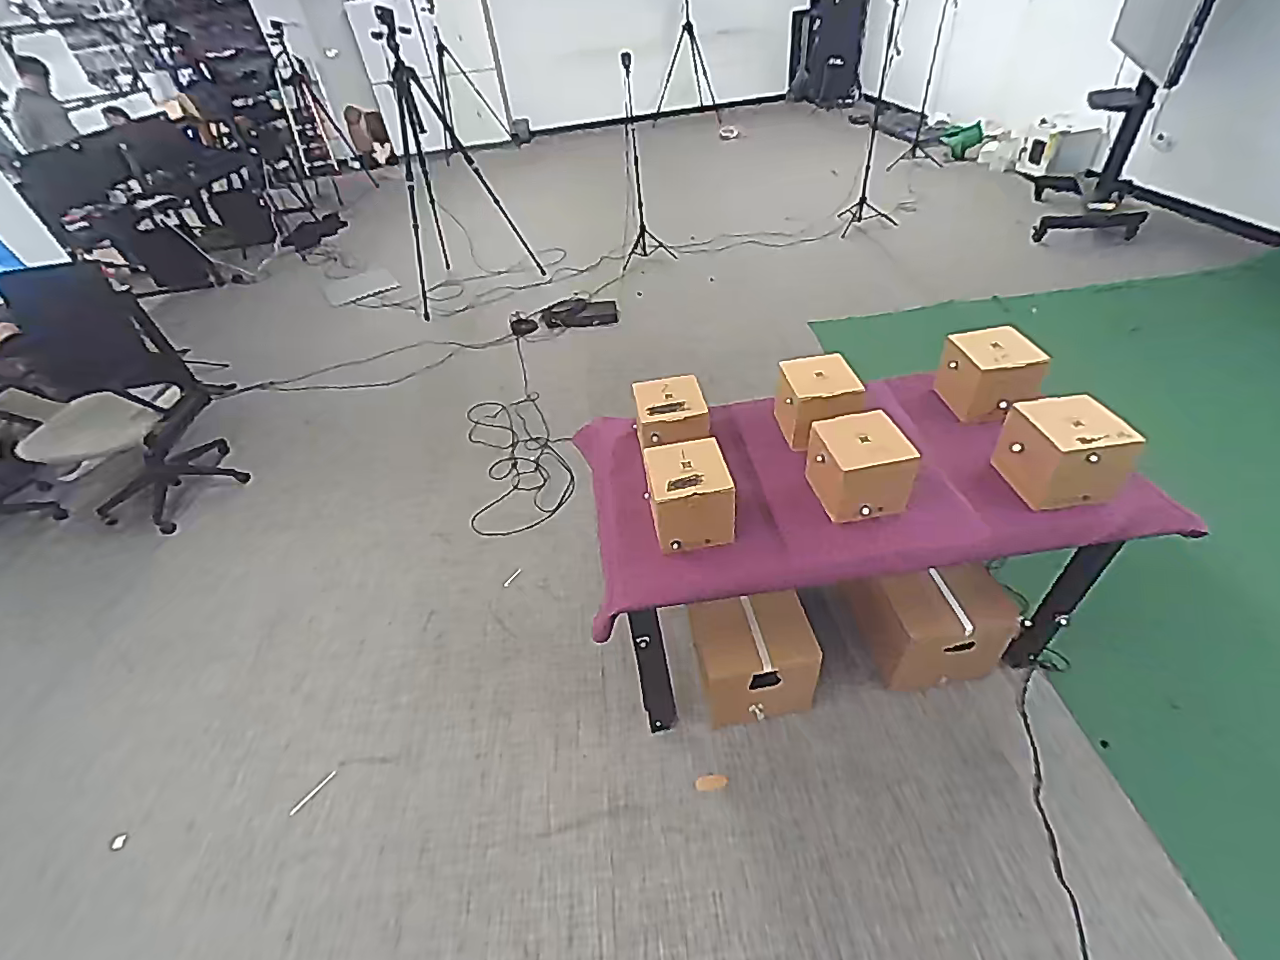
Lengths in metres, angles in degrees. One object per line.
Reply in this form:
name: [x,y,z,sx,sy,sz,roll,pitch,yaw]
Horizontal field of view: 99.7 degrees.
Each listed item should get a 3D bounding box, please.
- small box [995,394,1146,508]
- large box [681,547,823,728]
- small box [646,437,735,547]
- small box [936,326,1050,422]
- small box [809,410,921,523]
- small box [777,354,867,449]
small box: [0.915,-0.063,1.173,0.168,0.176,0.179,-8,40,3]
large box: [0.327,0.479,1.667,0.320,0.320,0.408,-10,41,-2]
small box: [0.112,0.033,1.202,0.168,0.176,0.179,-9,41,-2]
small box: [0.903,-0.275,1.405,0.168,0.176,0.179,-9,43,3]
small box: [0.491,-0.031,1.212,0.168,0.176,0.179,-10,42,-1]
small box: [0.461,-0.203,1.407,0.168,0.176,0.179,-8,43,0]
